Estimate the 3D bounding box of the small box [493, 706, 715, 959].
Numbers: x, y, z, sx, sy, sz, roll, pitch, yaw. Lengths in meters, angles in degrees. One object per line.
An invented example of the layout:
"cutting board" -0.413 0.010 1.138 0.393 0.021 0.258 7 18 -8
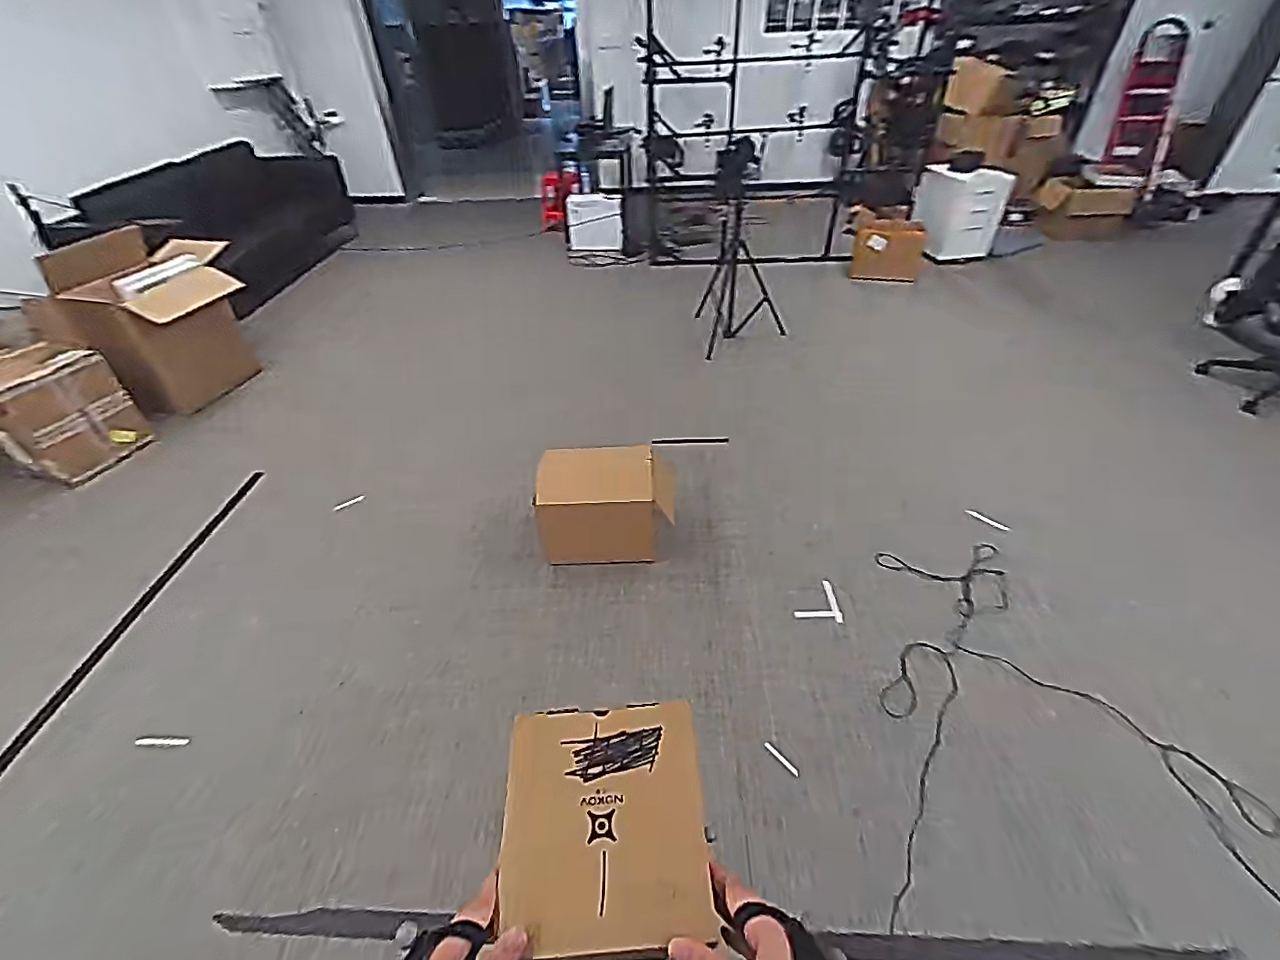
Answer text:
"small box" -0.027 0.334 0.506 0.168 0.176 0.179 -4 48 0
